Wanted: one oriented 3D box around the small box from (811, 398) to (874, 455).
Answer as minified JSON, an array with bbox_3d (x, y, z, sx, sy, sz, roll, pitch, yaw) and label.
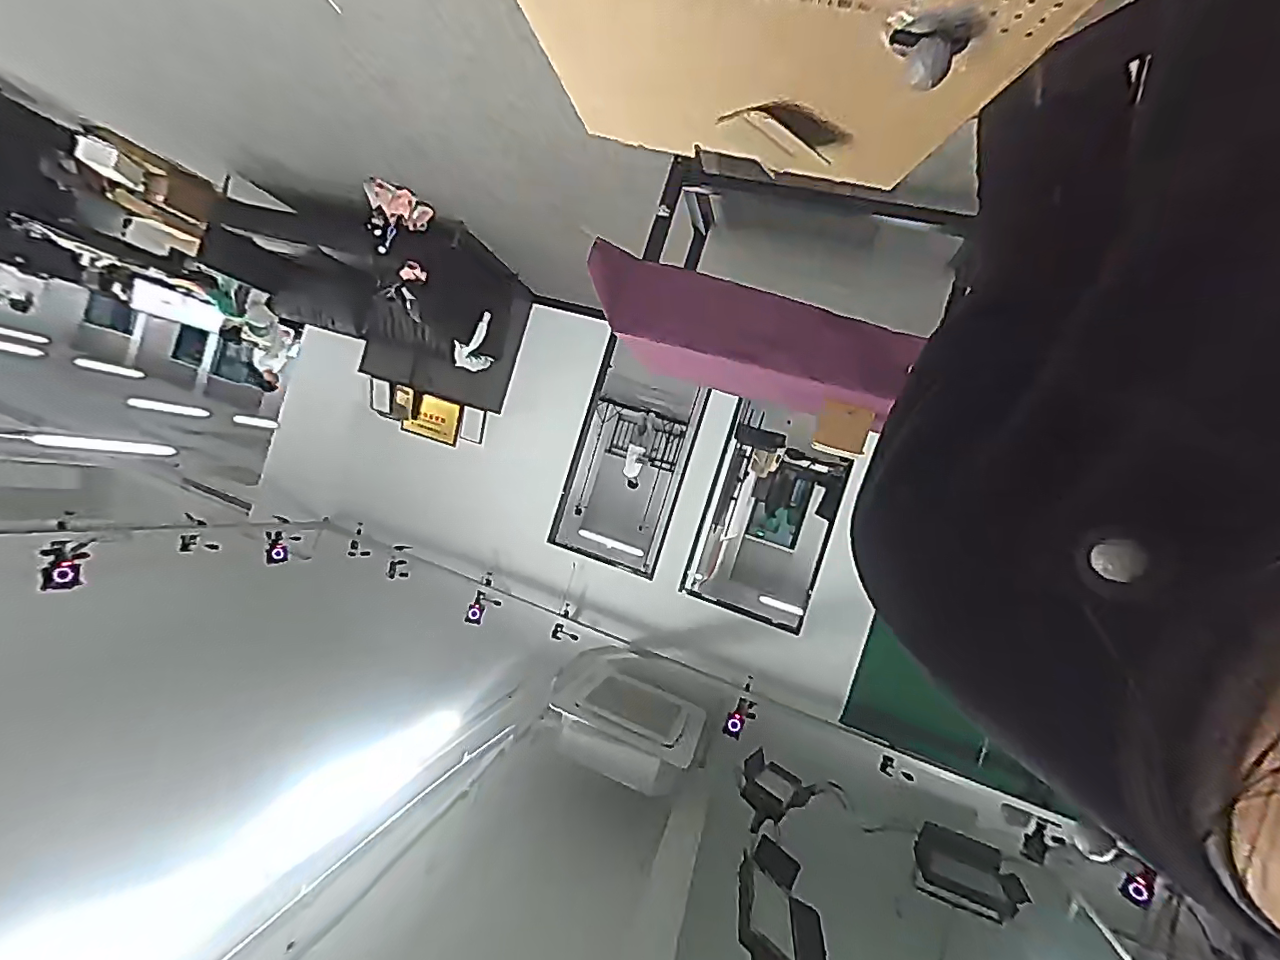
[{"bbox_3d":[0.762,-0.205,2.043,0.179,0.176,0.168,19,-178,16],"label":"small box"}]
